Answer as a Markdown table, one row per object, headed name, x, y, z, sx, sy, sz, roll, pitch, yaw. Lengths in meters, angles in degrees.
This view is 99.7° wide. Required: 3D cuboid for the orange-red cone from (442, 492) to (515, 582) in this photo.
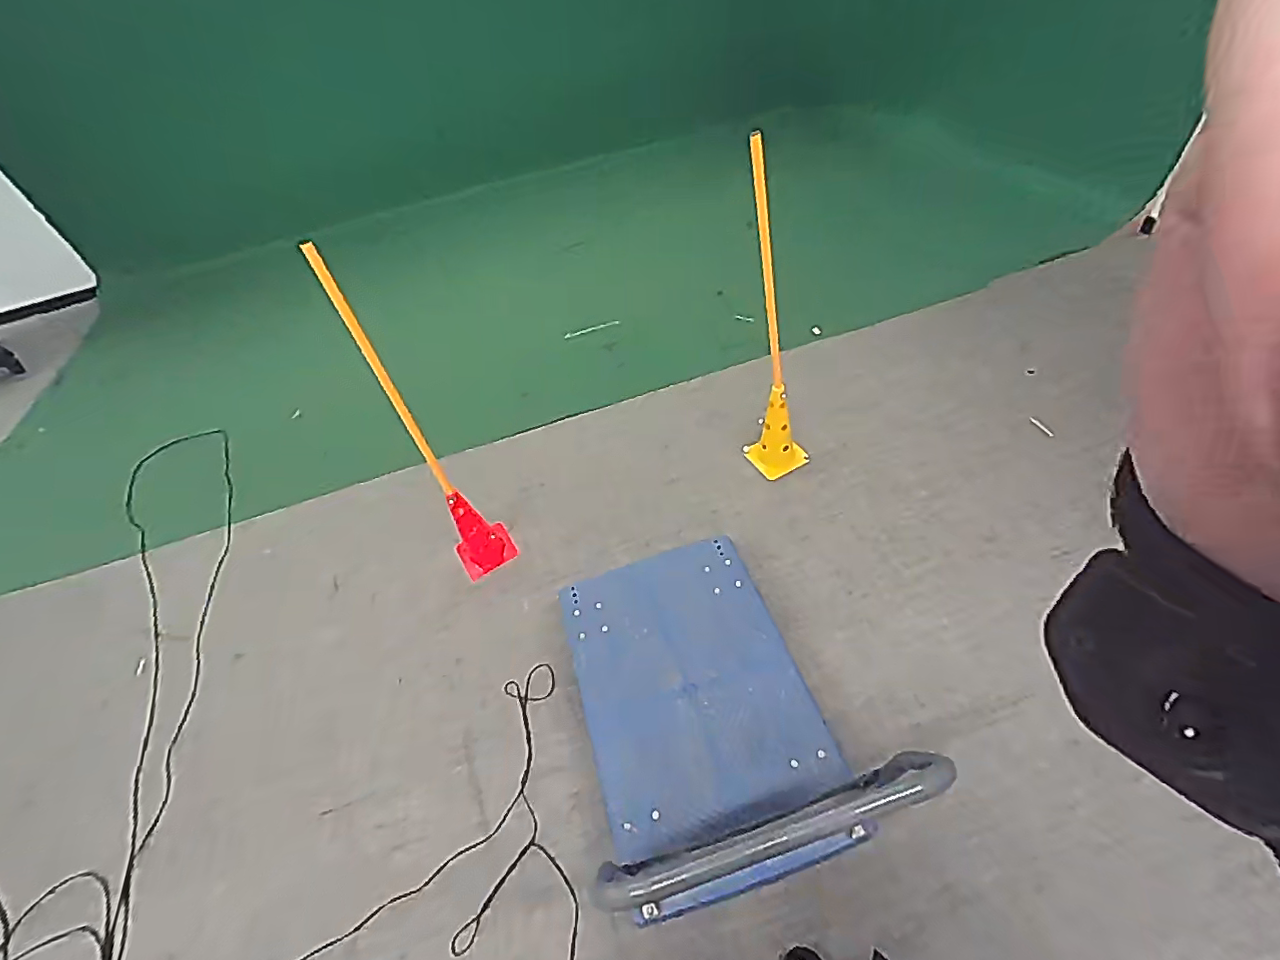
| name | x | y | z | sx | sy | sz | roll | pitch | yaw |
| --- | --- | --- | --- | --- | --- | --- | --- | --- | --- |
| orange-red cone | -0.614 | 0.169 | 1.920 | 0.199 | 0.360 | 0.198 | -30 | 50 | -14 |
